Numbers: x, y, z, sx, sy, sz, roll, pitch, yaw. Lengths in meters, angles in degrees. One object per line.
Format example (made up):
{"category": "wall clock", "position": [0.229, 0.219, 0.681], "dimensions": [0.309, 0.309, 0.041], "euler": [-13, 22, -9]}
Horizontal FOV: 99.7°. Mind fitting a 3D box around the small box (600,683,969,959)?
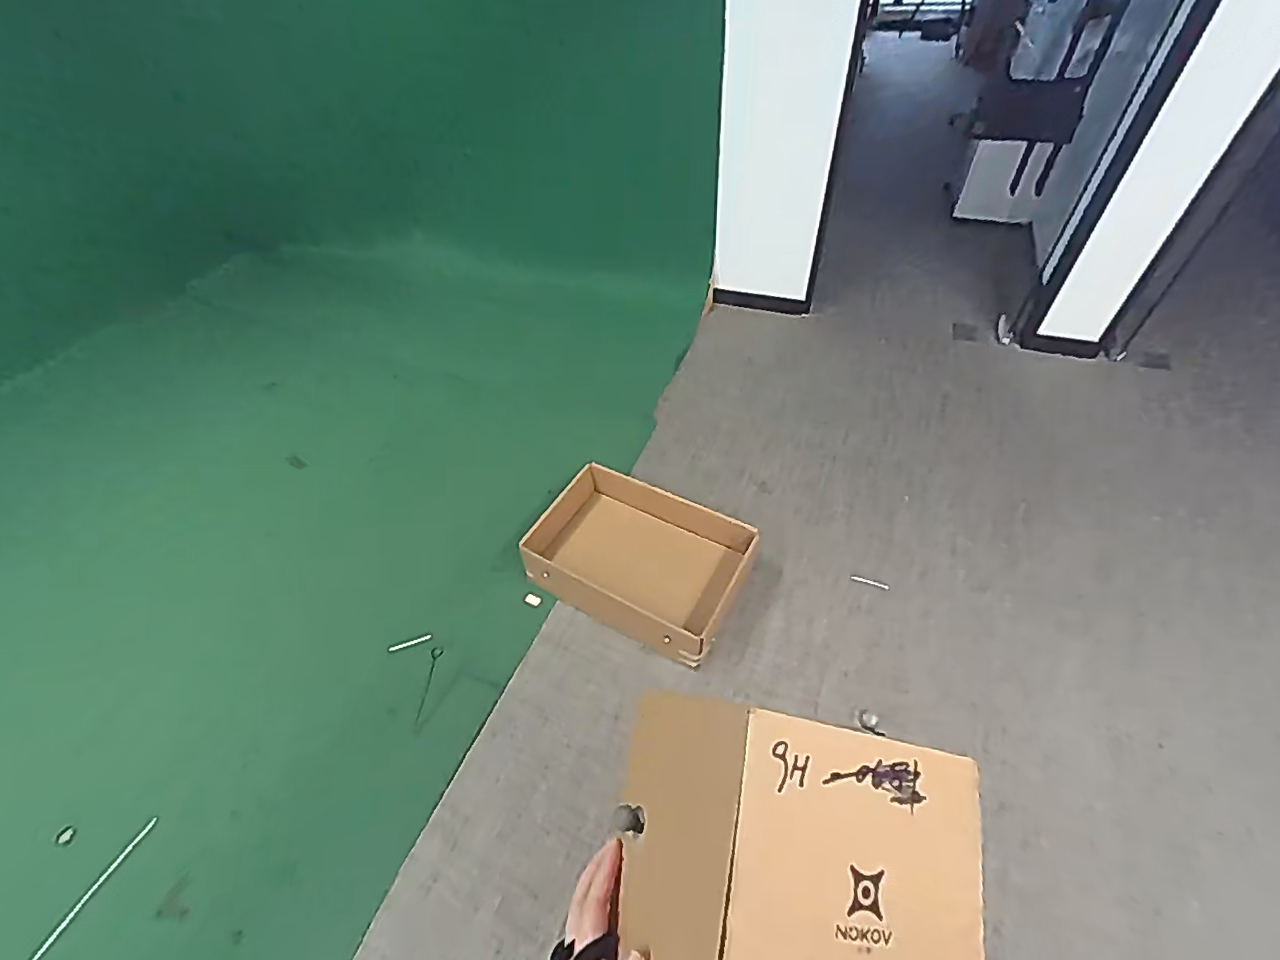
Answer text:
{"category": "small box", "position": [0.083, 0.247, 0.361], "dimensions": [0.168, 0.176, 0.179], "euler": [19, 69, -15]}
